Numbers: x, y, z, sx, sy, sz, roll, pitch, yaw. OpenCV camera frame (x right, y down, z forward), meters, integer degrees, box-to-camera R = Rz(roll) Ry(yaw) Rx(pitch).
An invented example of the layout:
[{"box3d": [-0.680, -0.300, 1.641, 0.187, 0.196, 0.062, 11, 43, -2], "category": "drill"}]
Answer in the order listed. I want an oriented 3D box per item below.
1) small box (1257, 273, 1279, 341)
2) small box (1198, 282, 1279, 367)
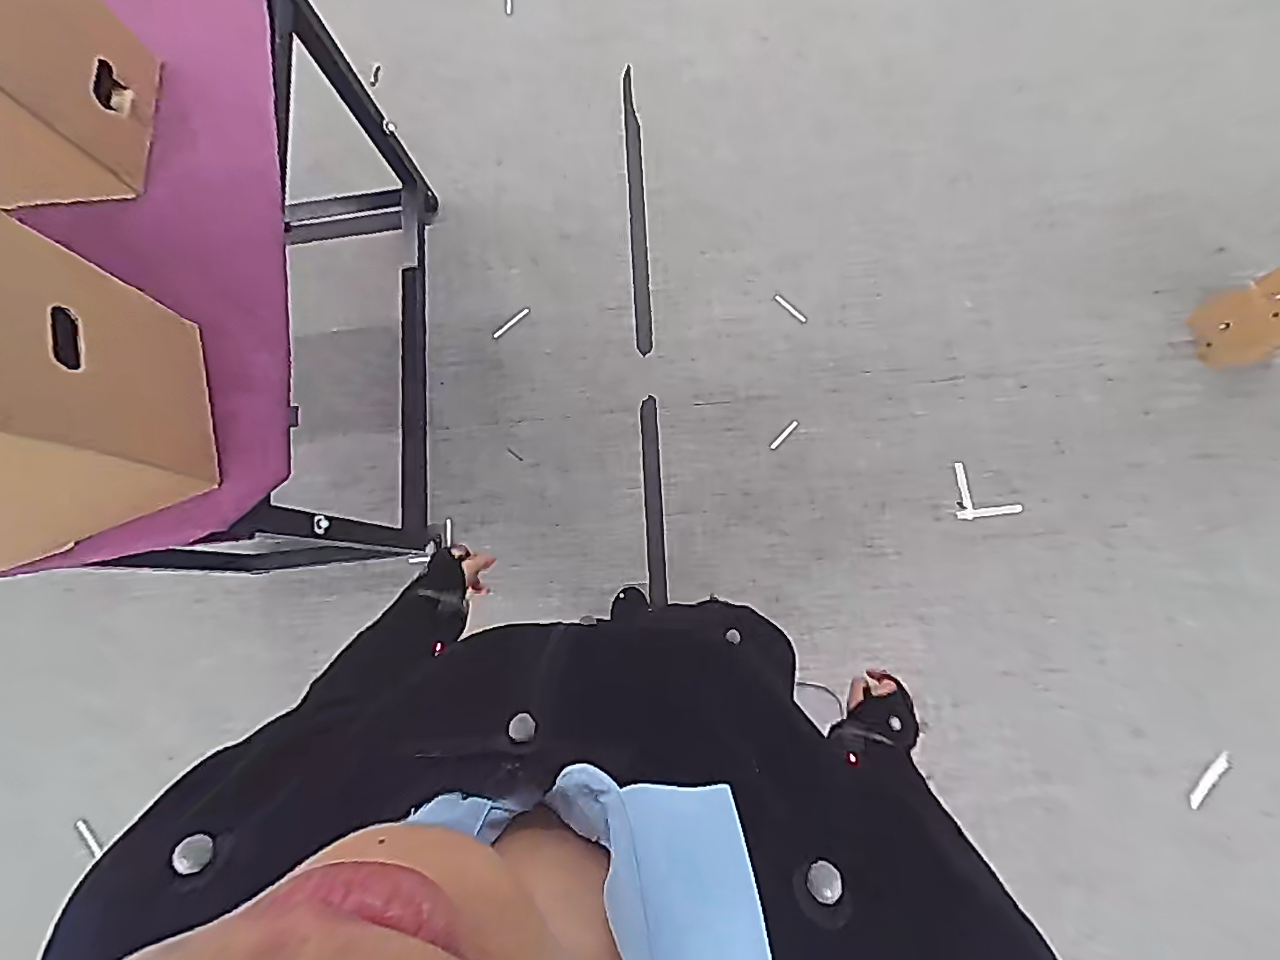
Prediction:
[{"box3d": [1.645, -0.443, 1.272, 0.179, 0.176, 0.168, -5, 78, 4], "category": "small box"}, {"box3d": [1.648, -0.413, 1.432, 0.179, 0.176, 0.168, -7, 79, 3], "category": "small box"}]
